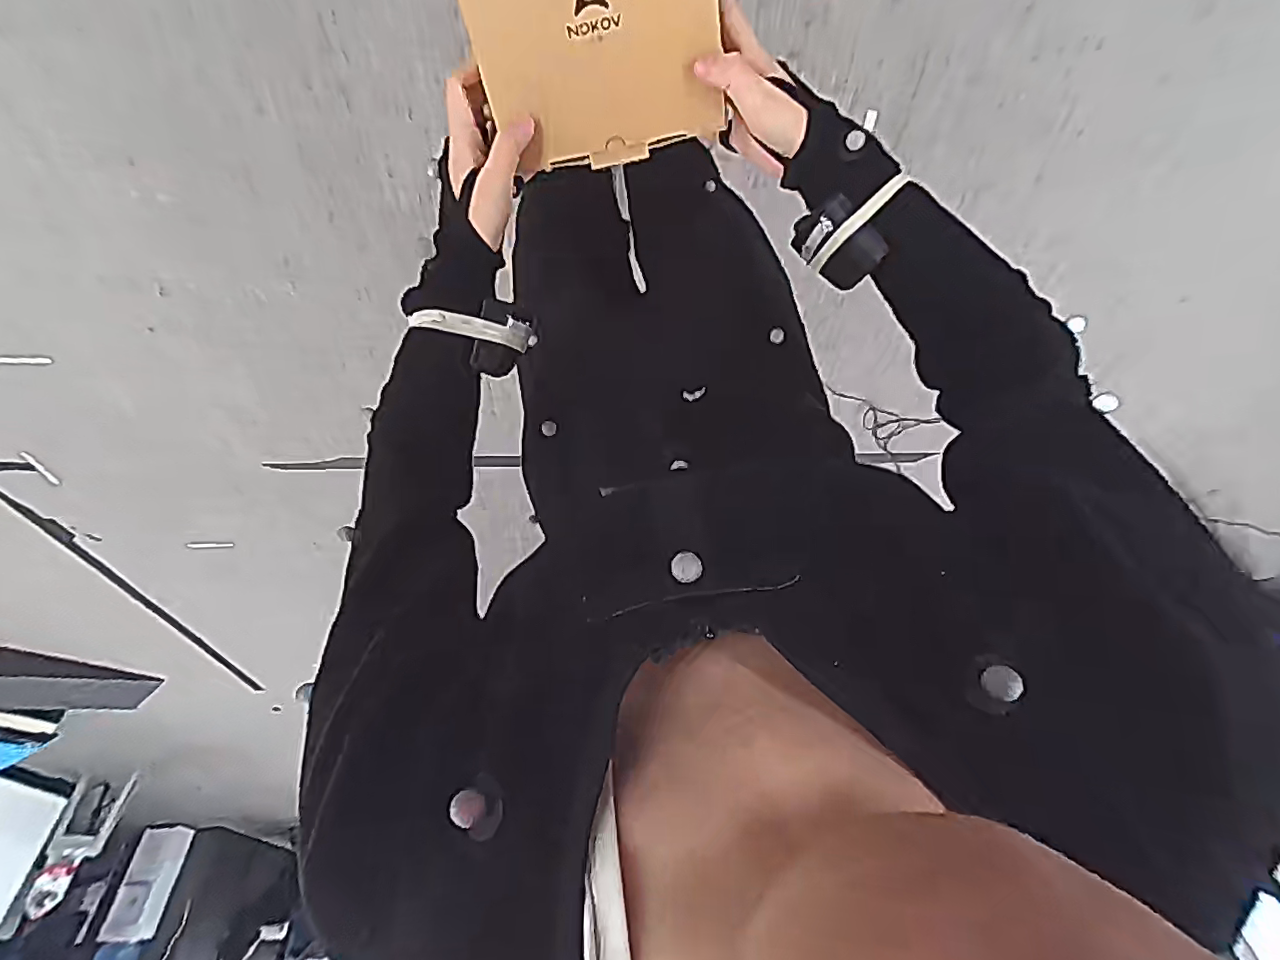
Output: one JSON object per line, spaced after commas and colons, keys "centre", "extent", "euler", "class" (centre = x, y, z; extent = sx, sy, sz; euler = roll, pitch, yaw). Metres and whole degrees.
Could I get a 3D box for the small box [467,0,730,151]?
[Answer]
{"centre": [-0.034, -0.369, 0.393], "extent": [0.168, 0.176, 0.179], "euler": [-9, 132, 5], "class": "small box"}
